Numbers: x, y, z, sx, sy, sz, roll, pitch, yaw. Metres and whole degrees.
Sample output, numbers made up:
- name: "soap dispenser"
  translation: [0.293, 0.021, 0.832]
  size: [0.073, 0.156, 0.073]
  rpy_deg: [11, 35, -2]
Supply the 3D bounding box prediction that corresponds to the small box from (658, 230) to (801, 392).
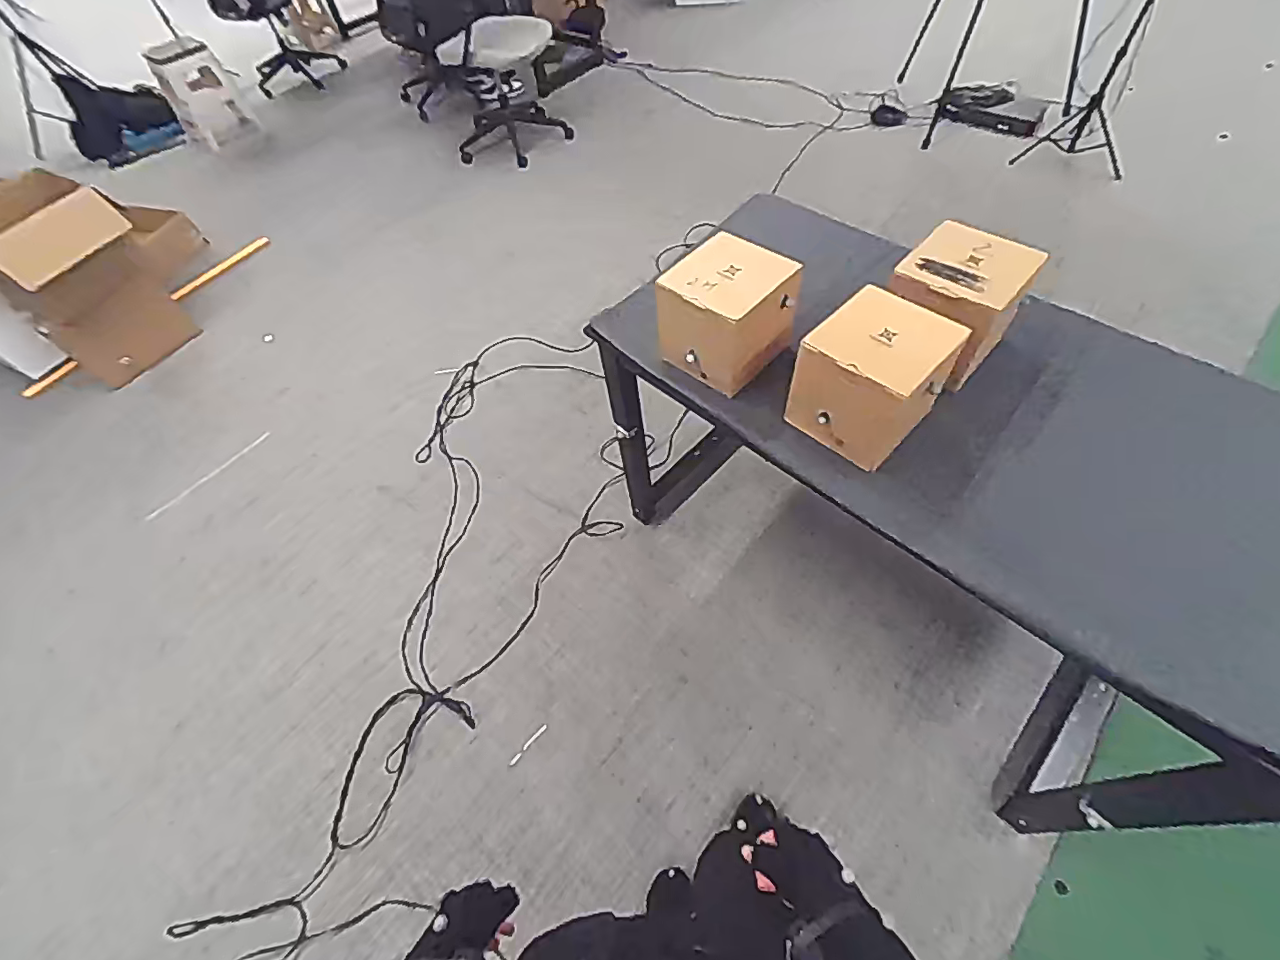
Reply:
- name: "small box"
  translation: [0.149, -0.289, 0.934]
  size: [0.168, 0.176, 0.179]
  rpy_deg: [37, 67, 26]
